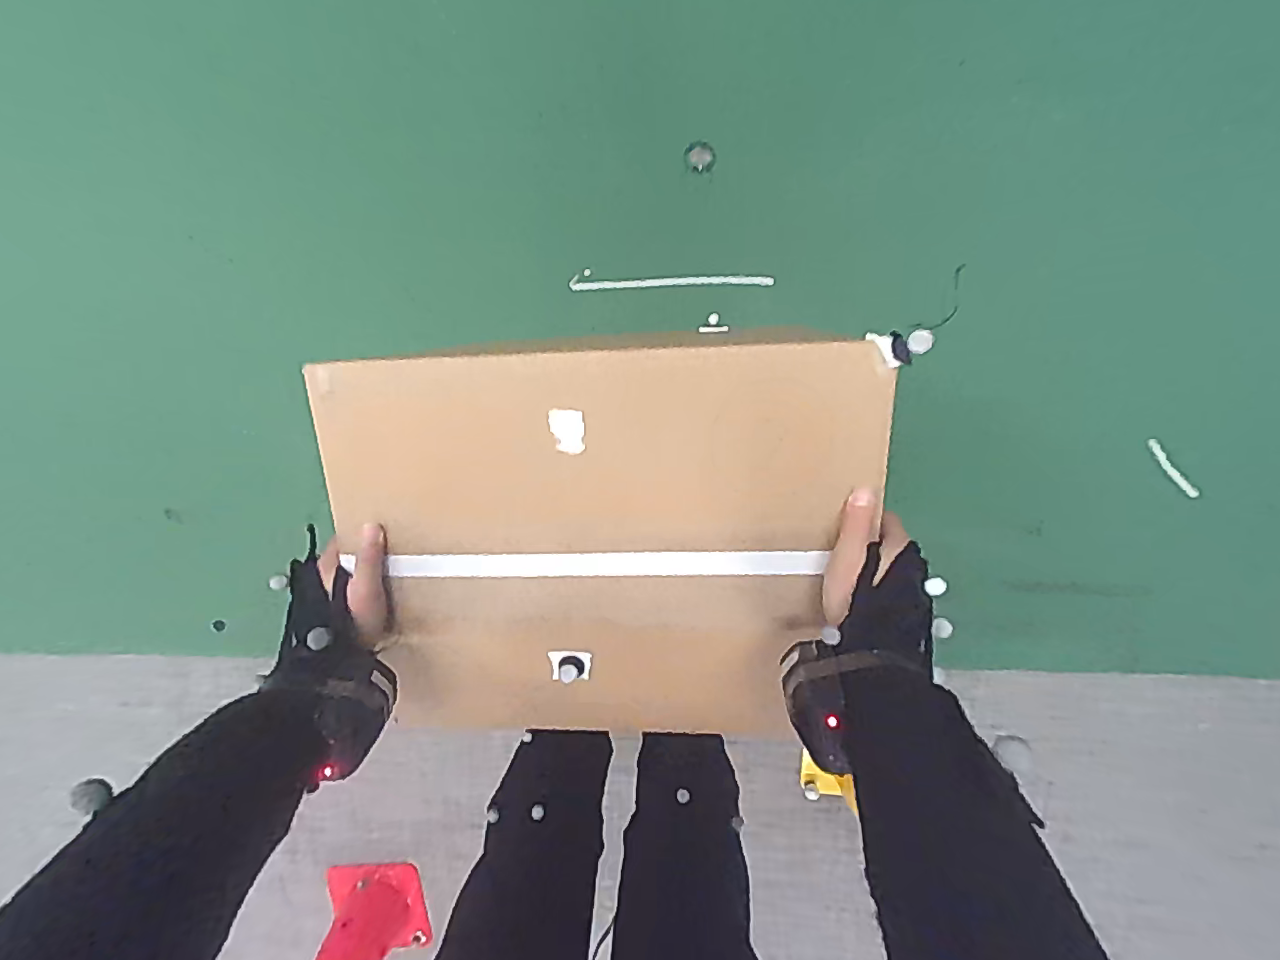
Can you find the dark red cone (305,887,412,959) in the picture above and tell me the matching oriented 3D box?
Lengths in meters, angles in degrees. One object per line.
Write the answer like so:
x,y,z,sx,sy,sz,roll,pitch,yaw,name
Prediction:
-0.561,0.904,0.893,0.202,0.394,0.201,-8,96,7,dark red cone
